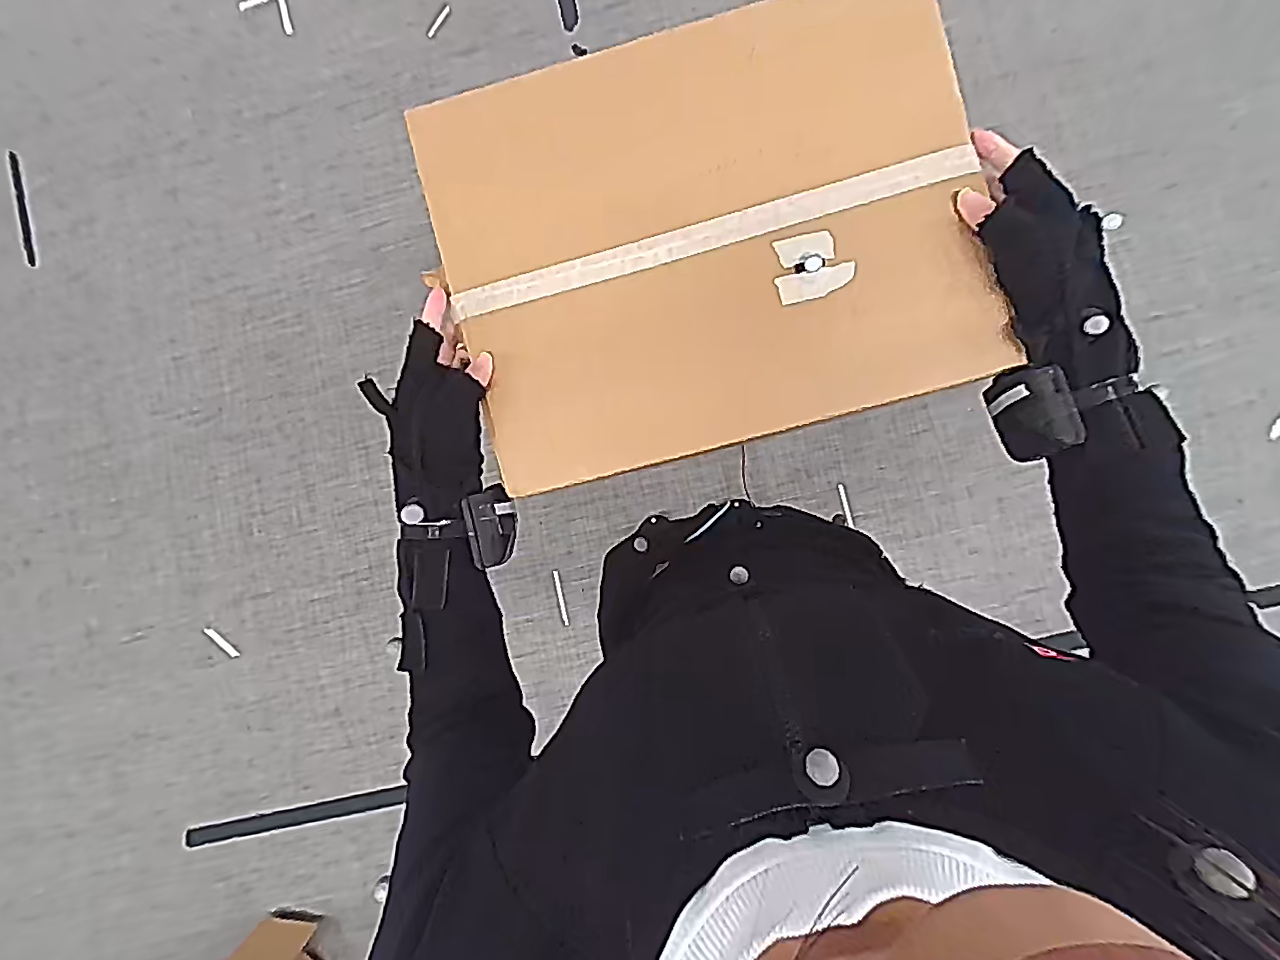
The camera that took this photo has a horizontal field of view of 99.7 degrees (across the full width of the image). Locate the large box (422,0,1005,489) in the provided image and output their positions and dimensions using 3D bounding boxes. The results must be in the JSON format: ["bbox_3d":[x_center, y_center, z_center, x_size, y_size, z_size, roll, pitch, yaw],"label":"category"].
[{"bbox_3d":[0.058,-0.194,0.572,0.408,0.320,0.320,-15,92,2],"label":"large box"}]
